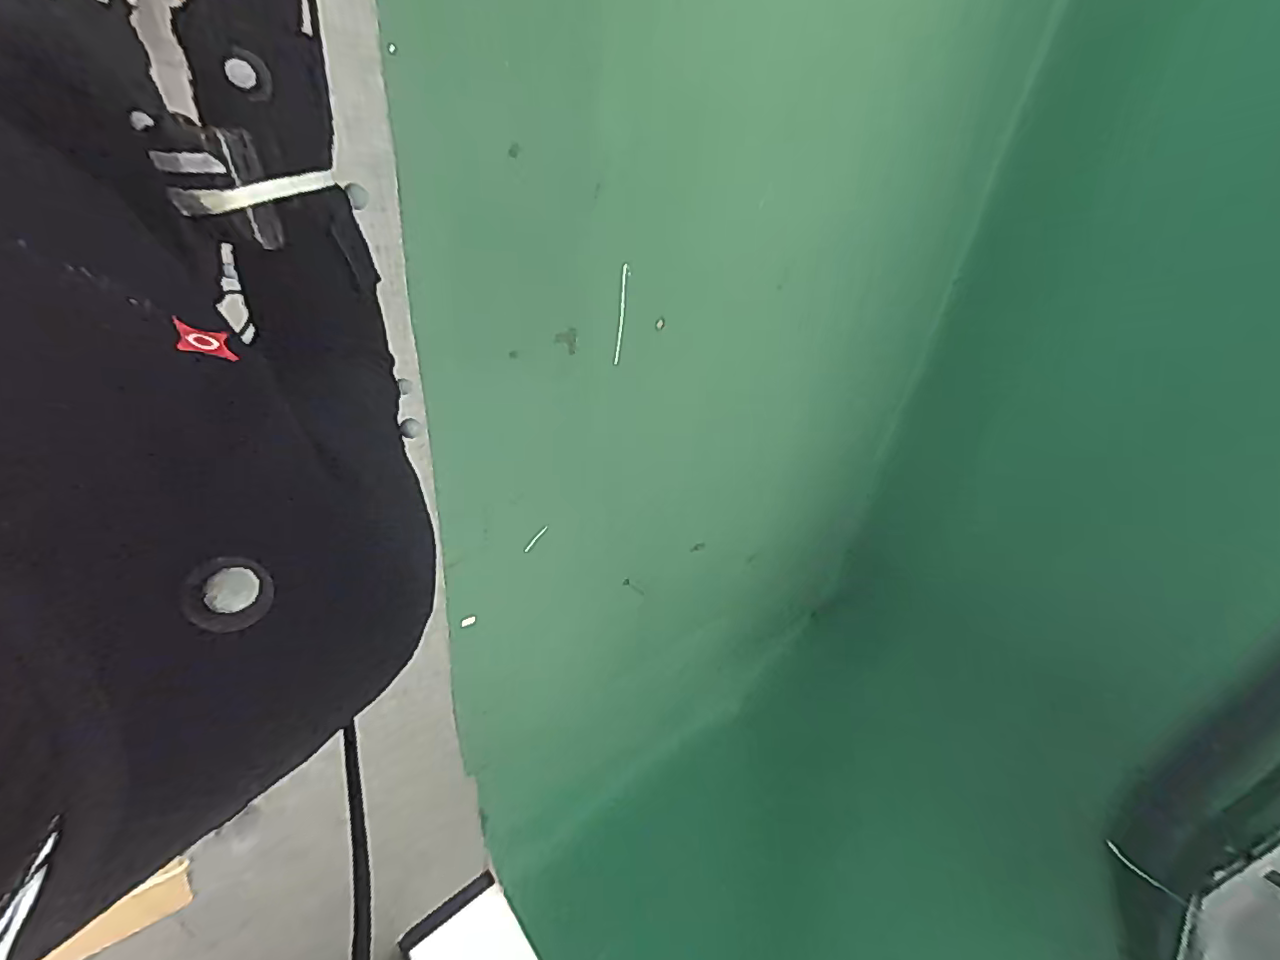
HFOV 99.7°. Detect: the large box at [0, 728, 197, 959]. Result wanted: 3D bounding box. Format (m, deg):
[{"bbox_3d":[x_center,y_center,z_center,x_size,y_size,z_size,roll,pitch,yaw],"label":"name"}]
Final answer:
[{"bbox_3d":[-1.284,0.847,1.205,0.408,0.320,0.320,-12,125,-39],"label":"large box"}]
